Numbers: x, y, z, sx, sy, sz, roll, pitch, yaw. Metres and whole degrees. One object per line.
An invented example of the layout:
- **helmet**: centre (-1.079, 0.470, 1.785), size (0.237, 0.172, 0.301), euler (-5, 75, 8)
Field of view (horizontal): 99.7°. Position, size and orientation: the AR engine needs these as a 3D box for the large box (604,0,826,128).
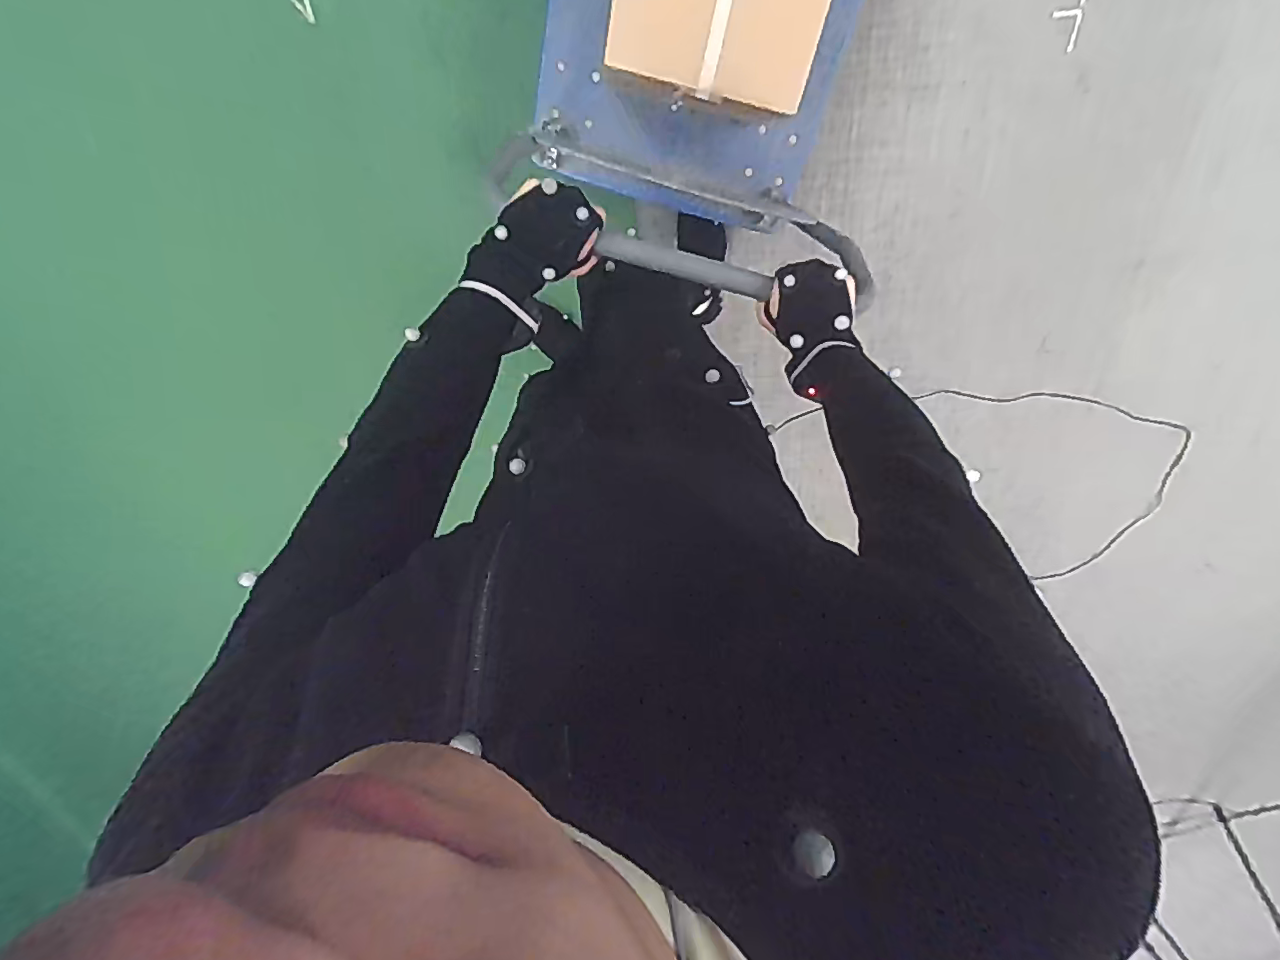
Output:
- **large box**: centre (0.129, -0.844, 0.880), size (0.320, 0.320, 0.408), euler (10, 120, -8)
